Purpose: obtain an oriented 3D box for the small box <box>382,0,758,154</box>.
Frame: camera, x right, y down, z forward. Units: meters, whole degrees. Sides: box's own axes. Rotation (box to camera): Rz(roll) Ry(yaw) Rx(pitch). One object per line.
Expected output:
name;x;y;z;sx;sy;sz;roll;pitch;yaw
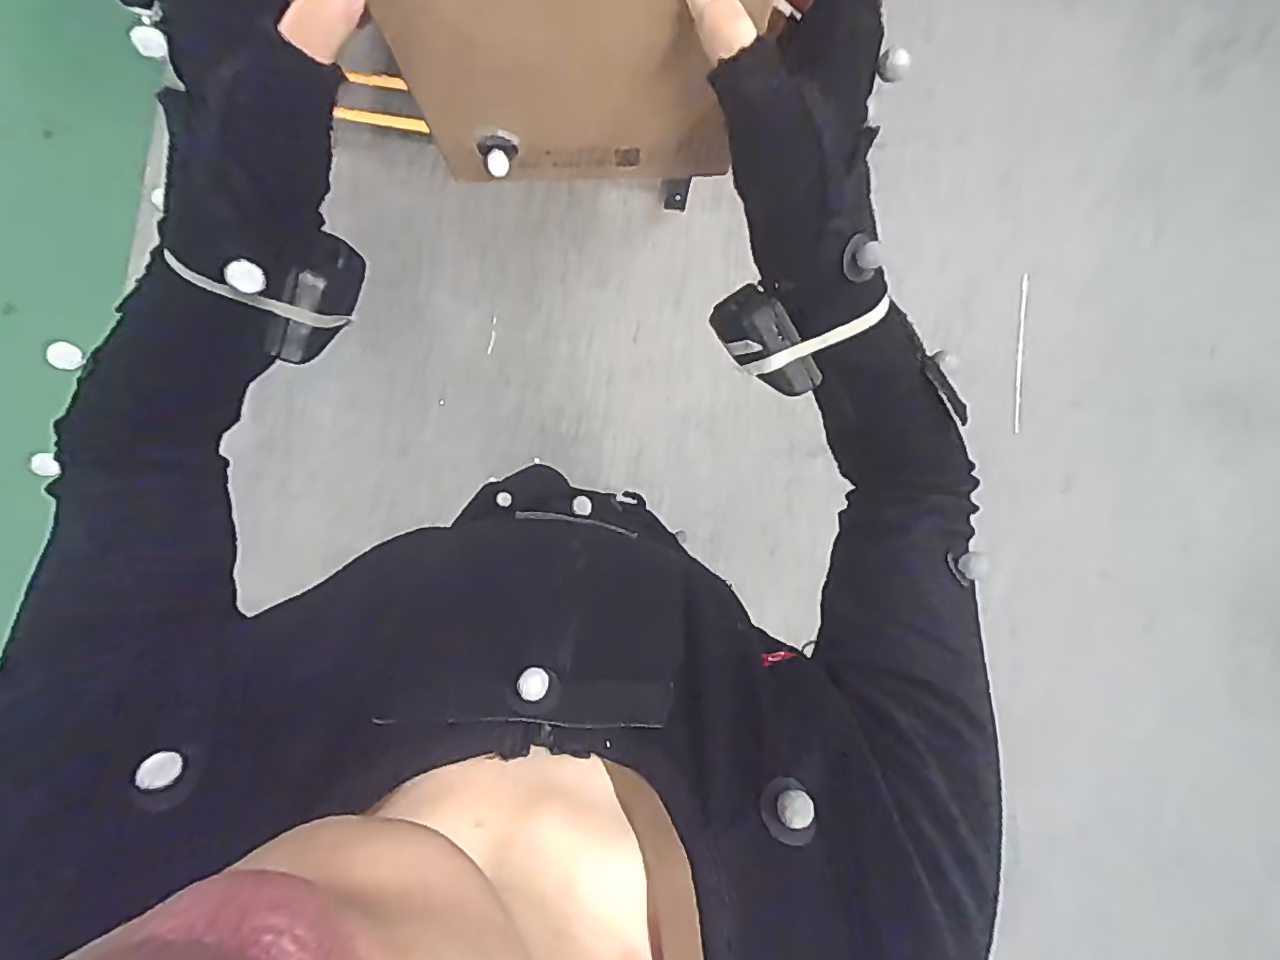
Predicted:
small box;-0.031;-0.281;0.249;0.168;0.176;0.179;-2;84;-1
